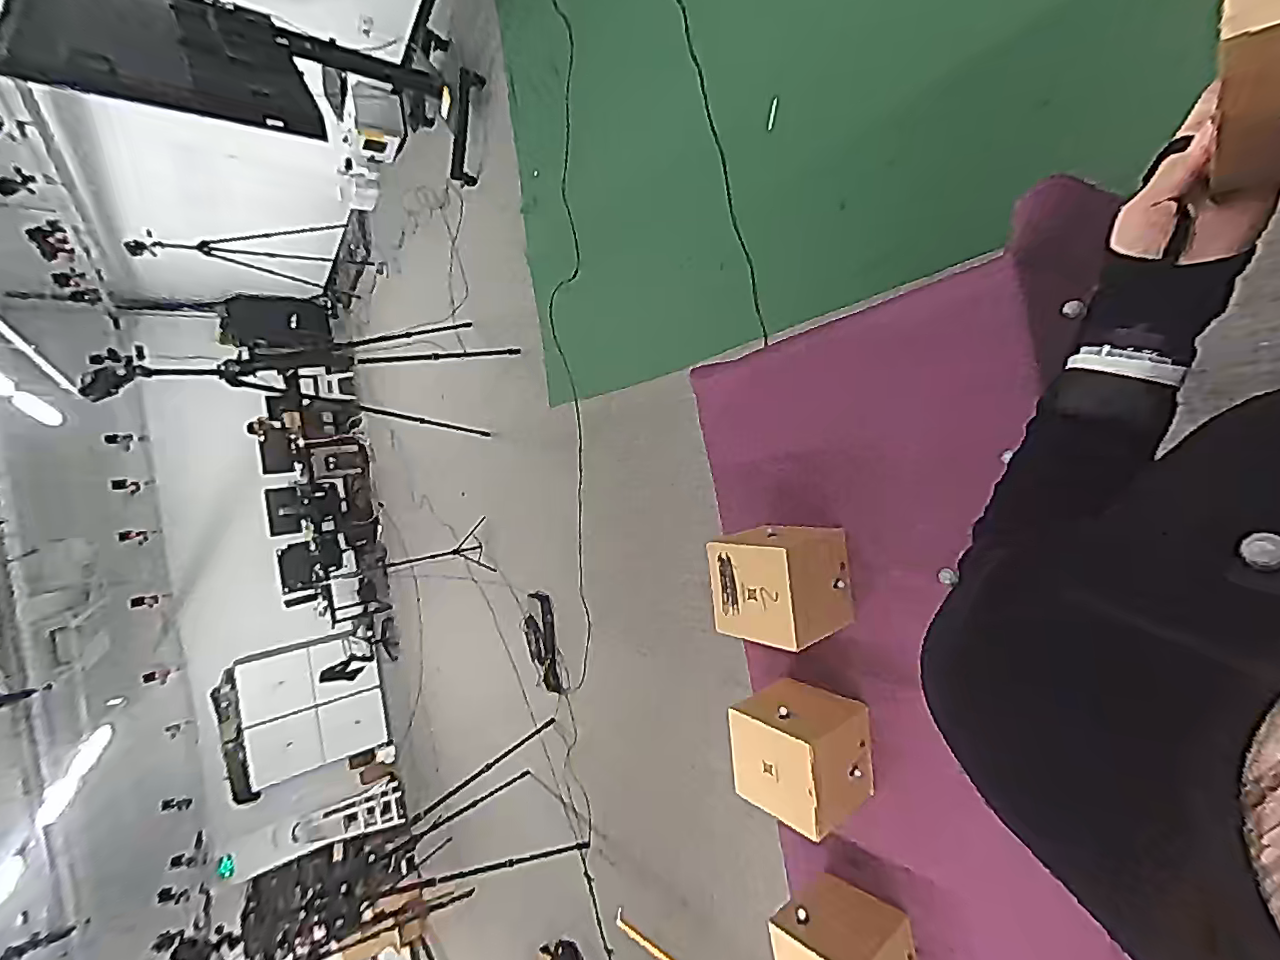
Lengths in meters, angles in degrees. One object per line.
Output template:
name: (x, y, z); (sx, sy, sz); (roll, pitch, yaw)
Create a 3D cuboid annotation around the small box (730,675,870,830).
small box: (0.285, 0.469, 0.967); (0.179, 0.176, 0.168); (0, 98, 52)

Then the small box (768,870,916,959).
small box: (0.355, 0.829, 0.943); (0.179, 0.176, 0.168); (-11, 88, 53)

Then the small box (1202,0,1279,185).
small box: (0.391, -0.274, 0.243); (0.179, 0.168, 0.176); (9, 93, 45)
